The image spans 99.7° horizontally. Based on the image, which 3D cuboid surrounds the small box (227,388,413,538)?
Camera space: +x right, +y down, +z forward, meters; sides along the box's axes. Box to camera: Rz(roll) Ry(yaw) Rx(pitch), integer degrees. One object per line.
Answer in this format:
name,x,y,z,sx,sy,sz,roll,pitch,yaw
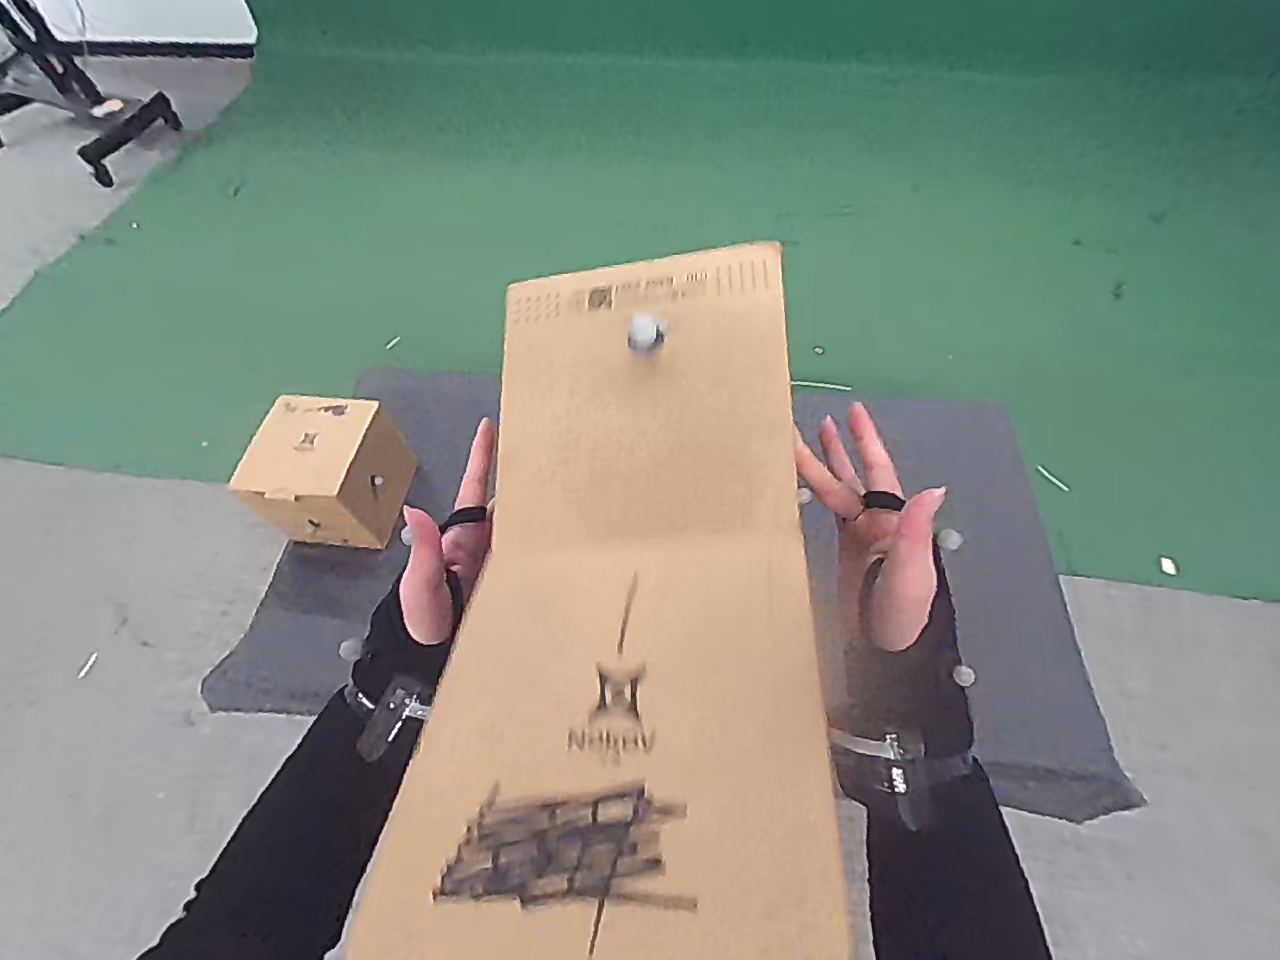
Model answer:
small box,-0.486,-0.021,0.857,0.168,0.176,0.179,5,61,3
